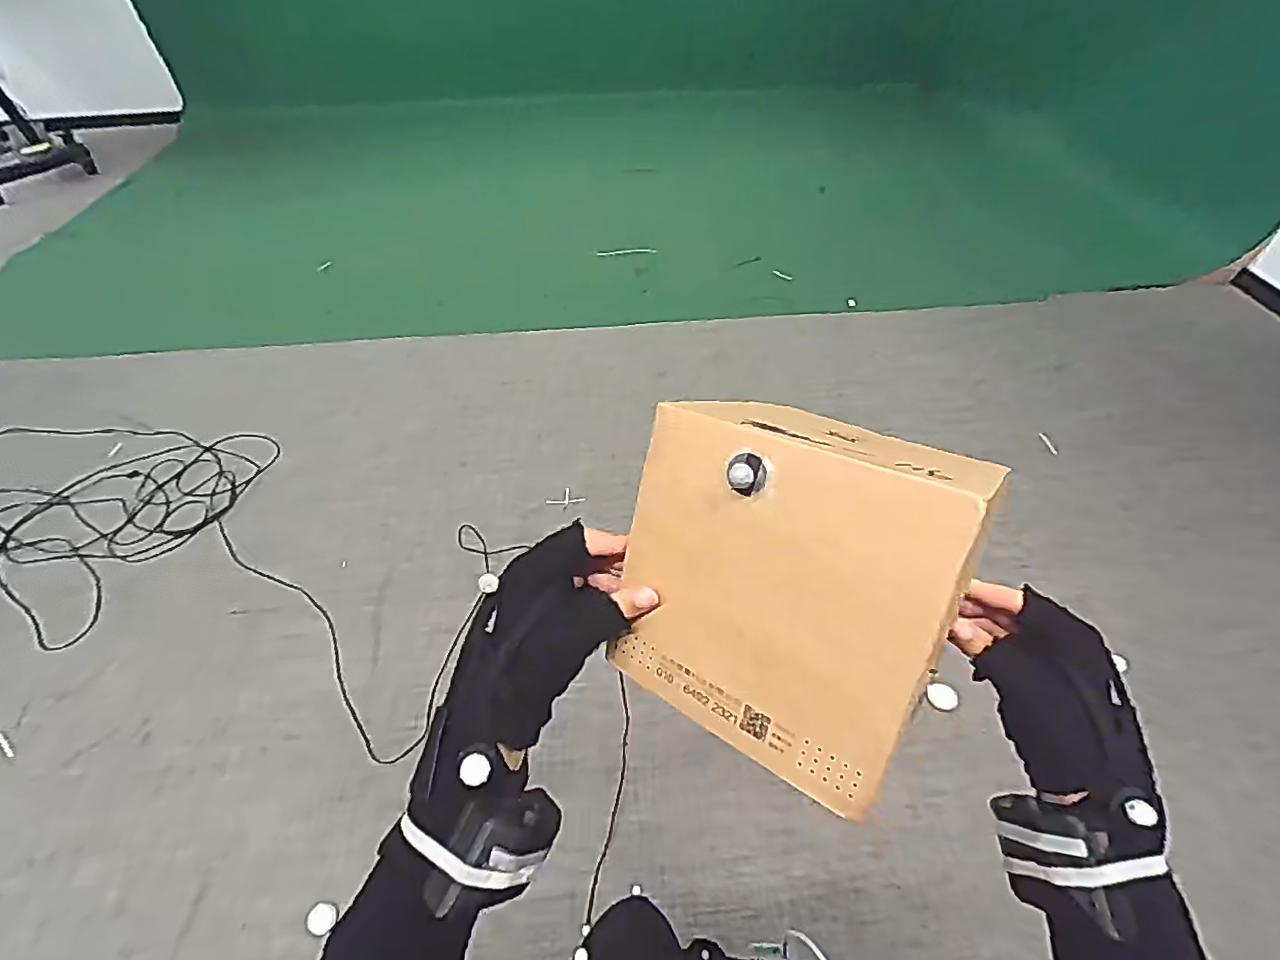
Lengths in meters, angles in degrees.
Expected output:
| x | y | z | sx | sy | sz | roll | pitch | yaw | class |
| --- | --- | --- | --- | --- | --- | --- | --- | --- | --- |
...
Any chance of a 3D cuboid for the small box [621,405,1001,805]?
| x | y | z | sx | sy | sz | roll | pitch | yaw | class |
| --- | --- | --- | --- | --- | --- | --- | --- | --- | --- |
| 0.108 | 0.056 | 0.353 | 0.168 | 0.176 | 0.179 | 21 | 17 | 34 | small box |
